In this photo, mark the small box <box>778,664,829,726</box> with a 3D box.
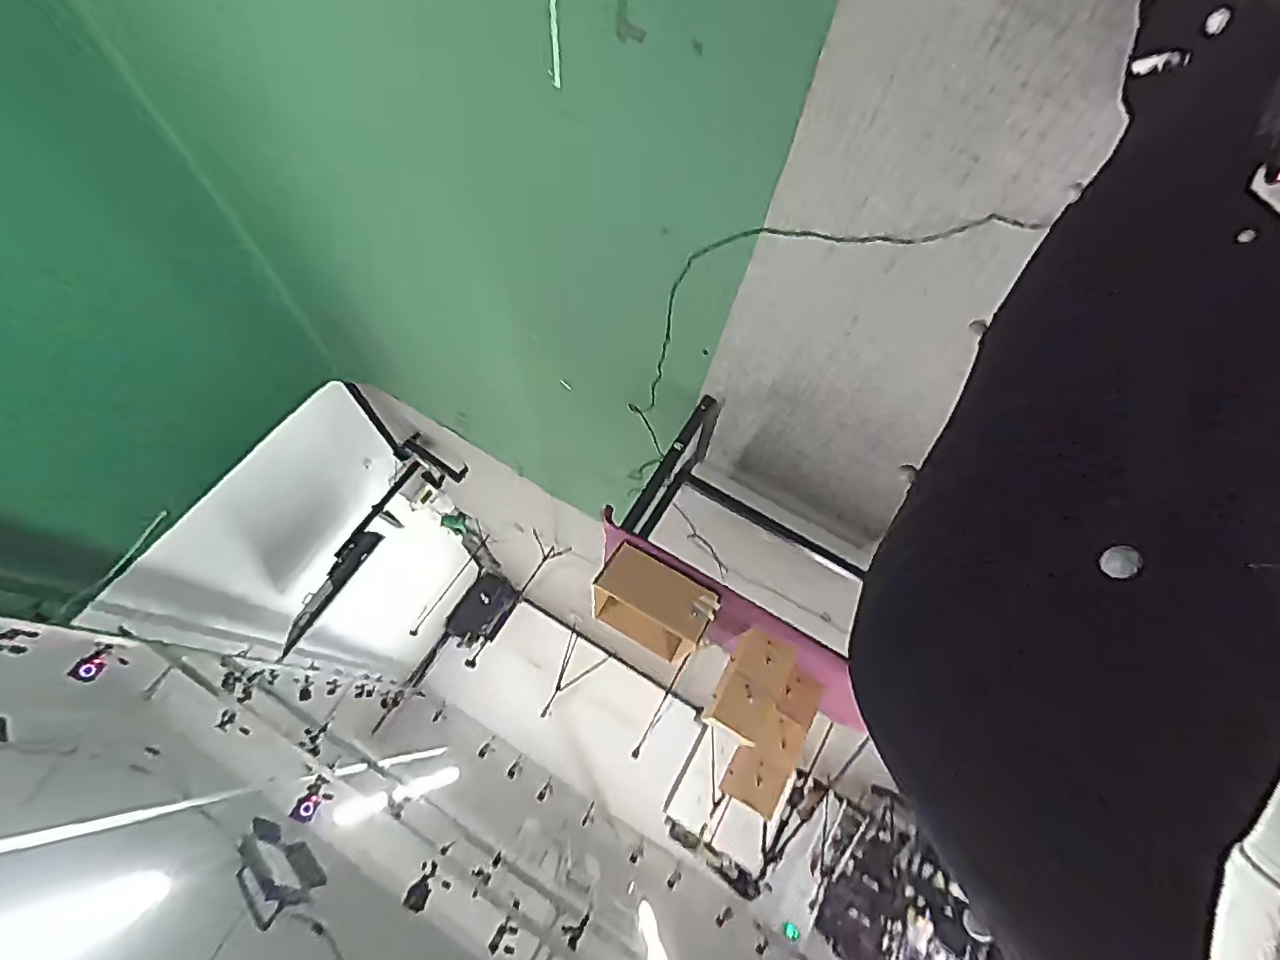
[{"bbox_3d":[0.595,0.811,2.051,0.168,0.176,0.179,31,158,9],"label":"small box"}]

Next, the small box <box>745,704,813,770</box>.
[{"bbox_3d":[0.513,0.934,1.985,0.168,0.176,0.179,30,158,9],"label":"small box"}]

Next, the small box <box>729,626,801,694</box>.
[{"bbox_3d":[0.436,0.623,1.875,0.168,0.176,0.179,31,158,8],"label":"small box"}]

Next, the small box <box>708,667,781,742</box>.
[{"bbox_3d":[0.351,0.749,1.814,0.168,0.176,0.179,30,157,8],"label":"small box"}]

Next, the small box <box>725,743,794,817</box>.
[{"bbox_3d":[0.428,1.062,1.927,0.168,0.176,0.179,30,157,10],"label":"small box"}]
